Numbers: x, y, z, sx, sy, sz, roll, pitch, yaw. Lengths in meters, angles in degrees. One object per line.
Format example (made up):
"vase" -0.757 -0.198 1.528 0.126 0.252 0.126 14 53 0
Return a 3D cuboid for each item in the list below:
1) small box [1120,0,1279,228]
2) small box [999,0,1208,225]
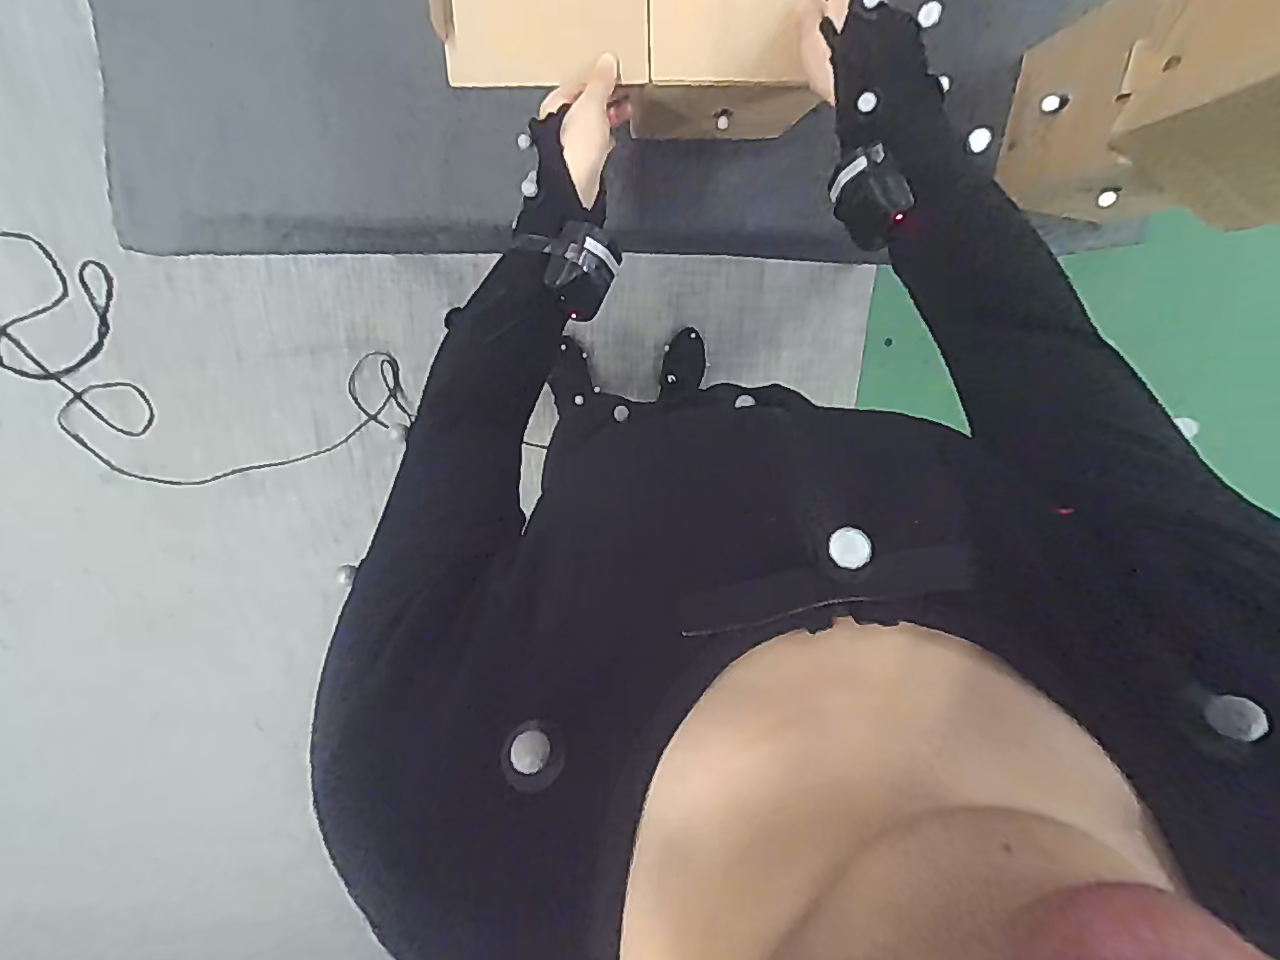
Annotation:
"small box" 0.561 -0.330 0.437 0.179 0.176 0.168 26 100 -13
"small box" 0.541 -0.389 0.589 0.179 0.176 0.168 5 104 -7
